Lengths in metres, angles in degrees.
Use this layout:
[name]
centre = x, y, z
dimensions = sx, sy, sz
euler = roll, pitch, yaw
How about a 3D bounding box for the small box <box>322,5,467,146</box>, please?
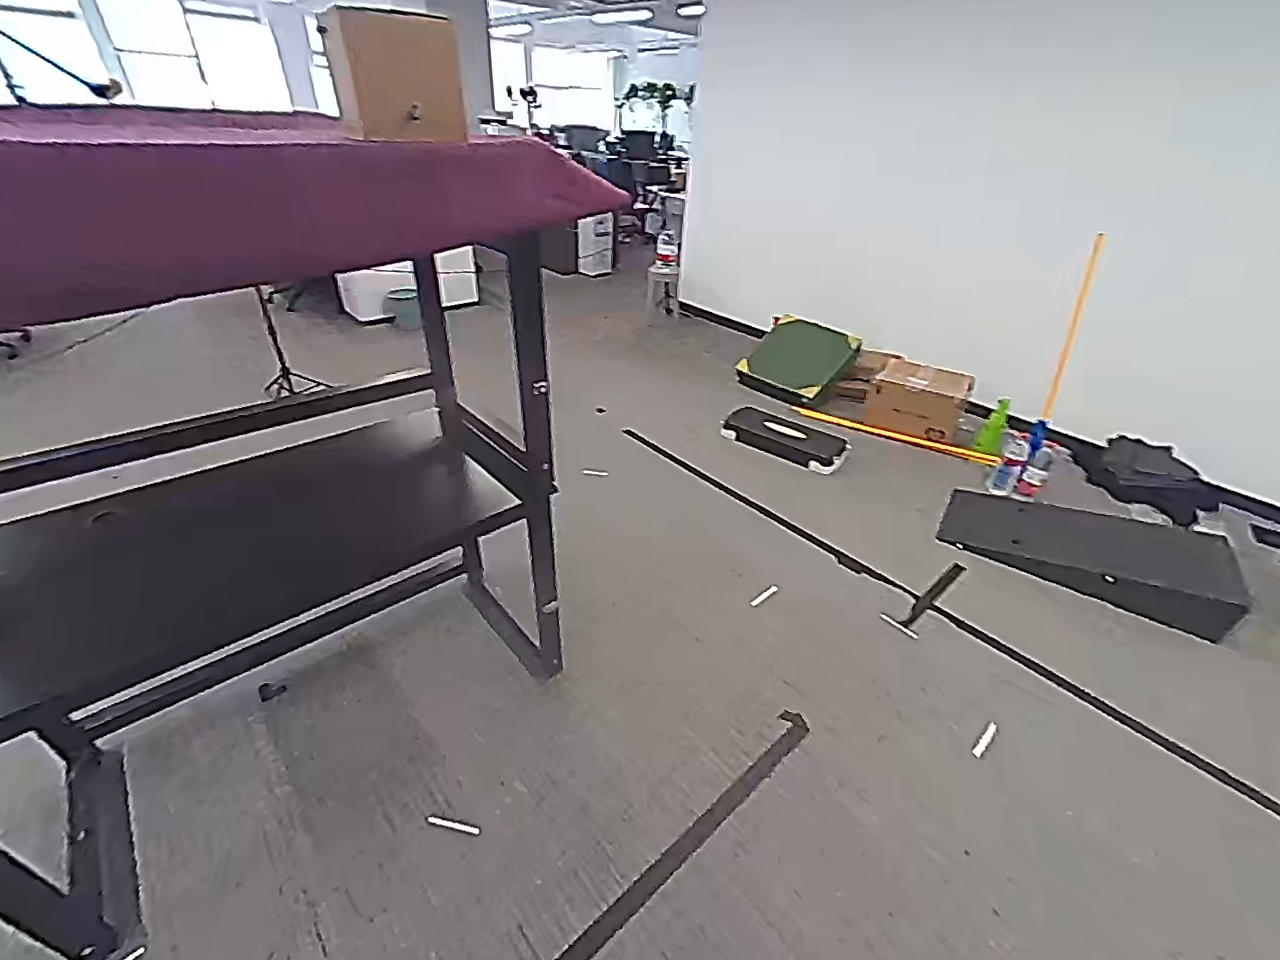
[small box]
centre = -0.401, -0.662, 0.903
dimensions = 0.179, 0.176, 0.168
euler = -20, 39, -30
